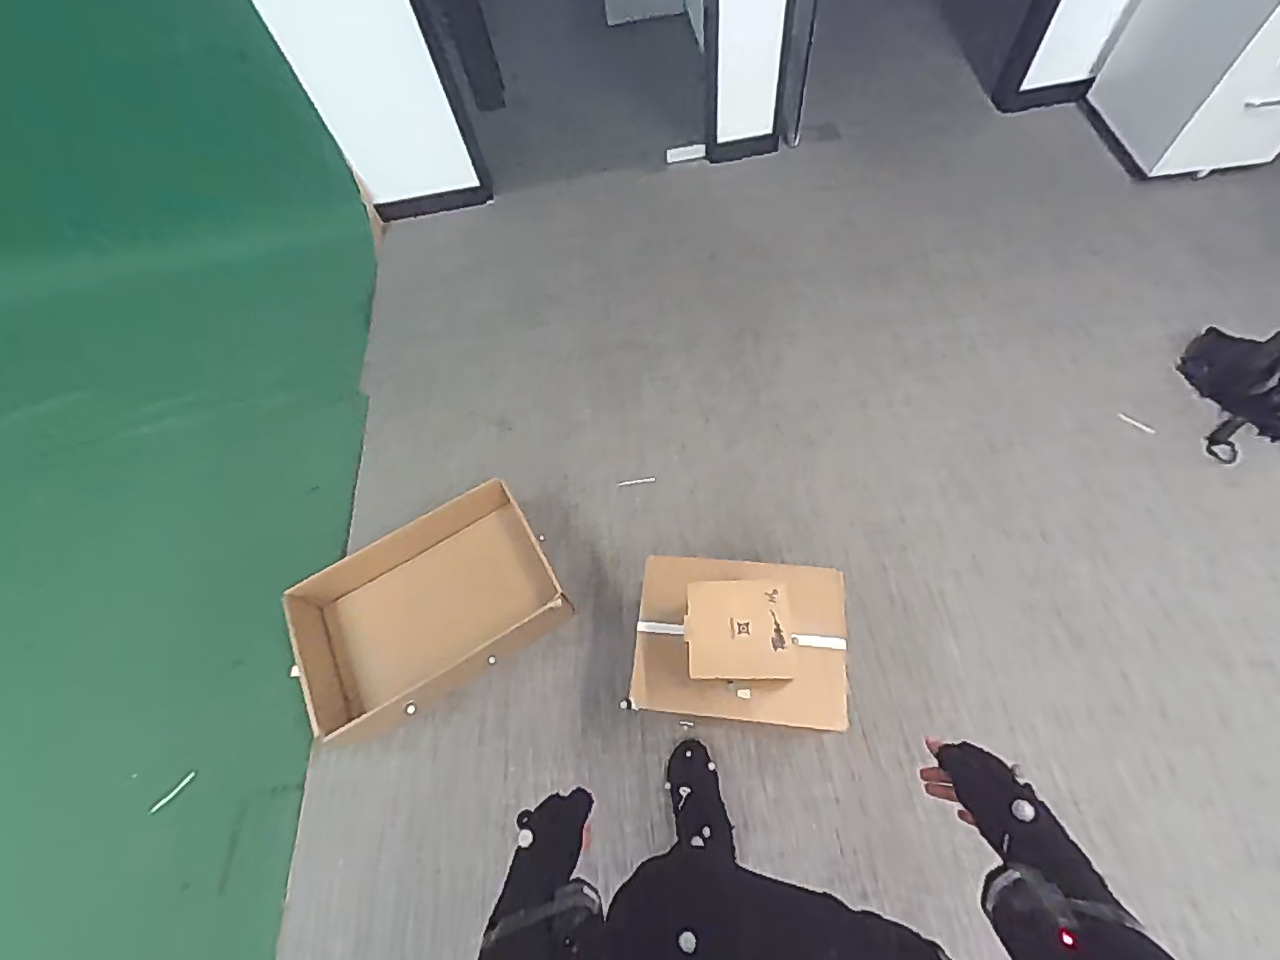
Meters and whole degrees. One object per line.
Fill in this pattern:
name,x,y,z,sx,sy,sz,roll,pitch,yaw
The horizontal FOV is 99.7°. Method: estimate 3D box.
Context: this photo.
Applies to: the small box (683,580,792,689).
small box,0.173,0.286,0.987,0.179,0.176,0.168,-2,63,6
